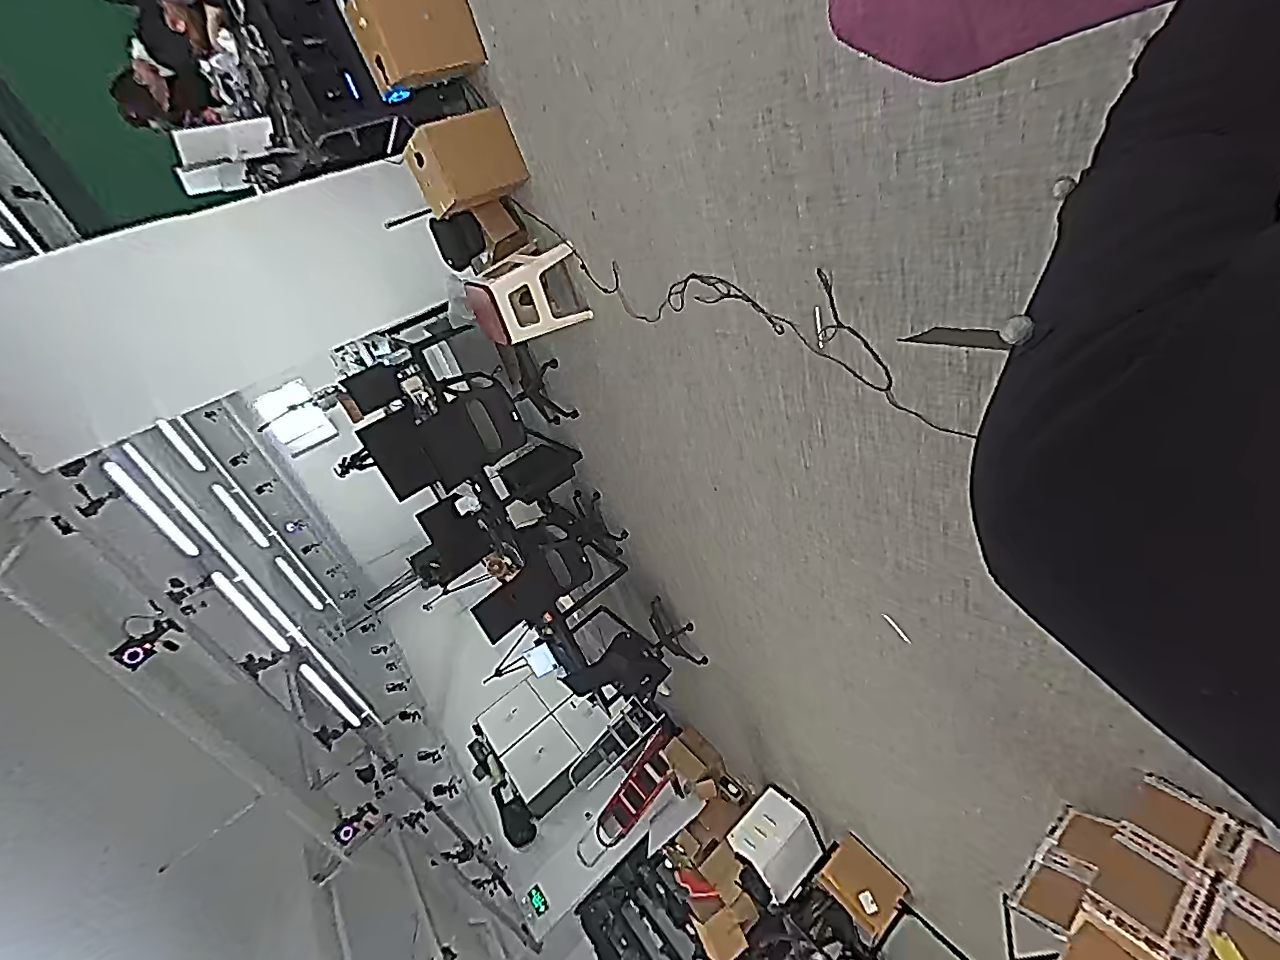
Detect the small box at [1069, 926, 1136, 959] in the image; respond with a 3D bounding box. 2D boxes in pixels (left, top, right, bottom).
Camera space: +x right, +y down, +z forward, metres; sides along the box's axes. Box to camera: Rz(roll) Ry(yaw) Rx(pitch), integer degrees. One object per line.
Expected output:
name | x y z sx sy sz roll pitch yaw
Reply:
small box | 1.268 1.366 1.452 0.179 0.176 0.168 33 146 46
